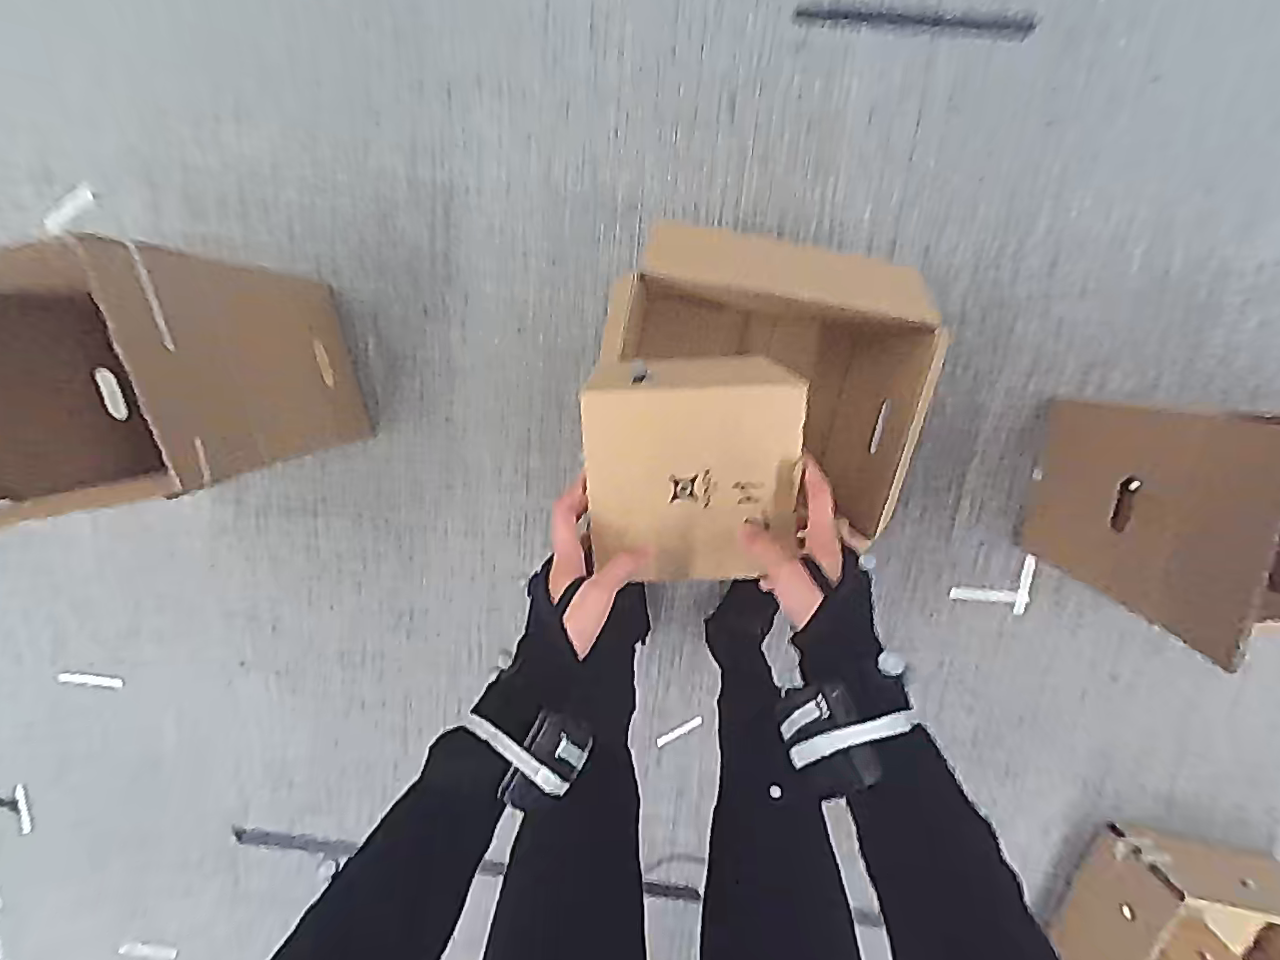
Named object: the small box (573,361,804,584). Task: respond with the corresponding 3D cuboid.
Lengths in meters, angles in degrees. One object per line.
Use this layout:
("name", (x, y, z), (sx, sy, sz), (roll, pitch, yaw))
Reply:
("small box", (0.039, -0.017, 0.506), (0.179, 0.176, 0.168), (-2, 110, 1))
